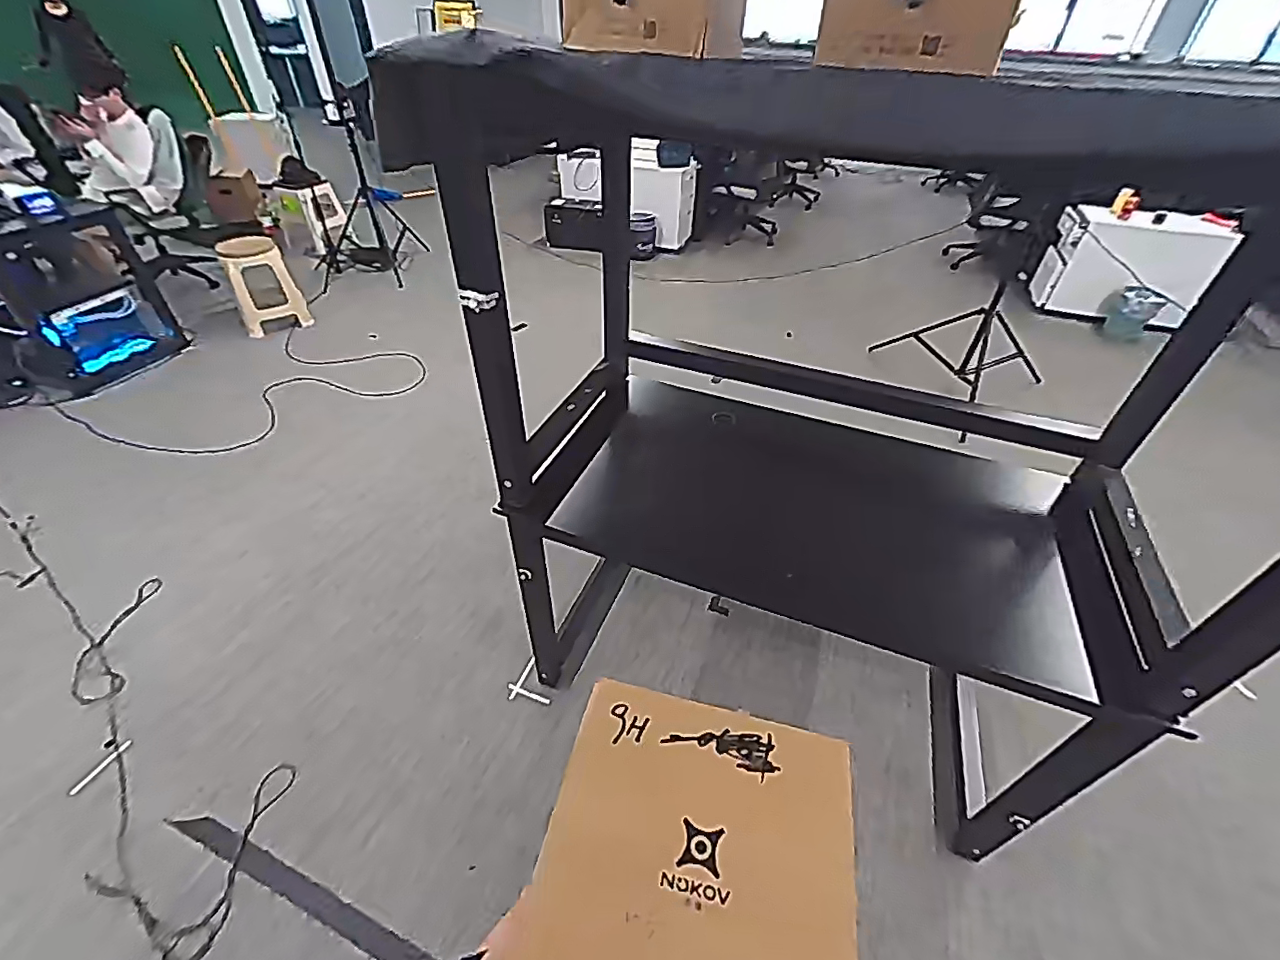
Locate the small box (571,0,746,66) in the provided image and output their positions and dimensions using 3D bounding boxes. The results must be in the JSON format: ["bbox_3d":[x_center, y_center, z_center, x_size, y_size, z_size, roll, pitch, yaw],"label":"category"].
[{"bbox_3d":[0.027,-0.570,0.593,0.168,0.176,0.179,16,42,14],"label":"small box"}]

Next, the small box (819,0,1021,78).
[{"bbox_3d":[0.281,-0.500,0.519,0.168,0.176,0.179,16,41,16],"label":"small box"}]
